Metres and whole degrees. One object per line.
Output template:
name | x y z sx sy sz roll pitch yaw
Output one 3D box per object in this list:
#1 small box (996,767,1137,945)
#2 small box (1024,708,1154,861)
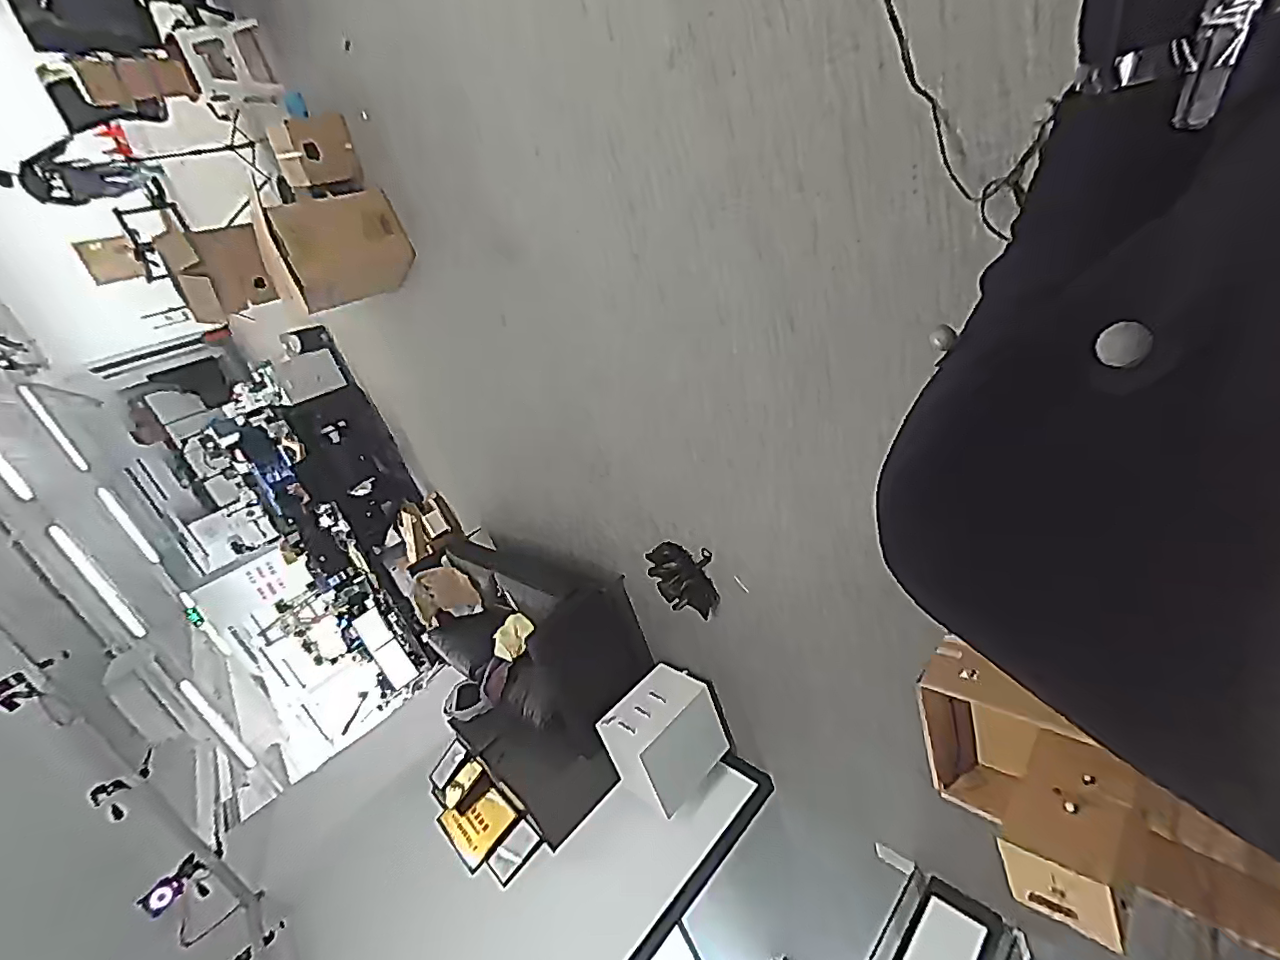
small box | 0.802 0.690 1.013 0.168 0.176 0.179 -1 117 52
small box | 0.915 0.608 1.100 0.168 0.176 0.179 -3 117 52
